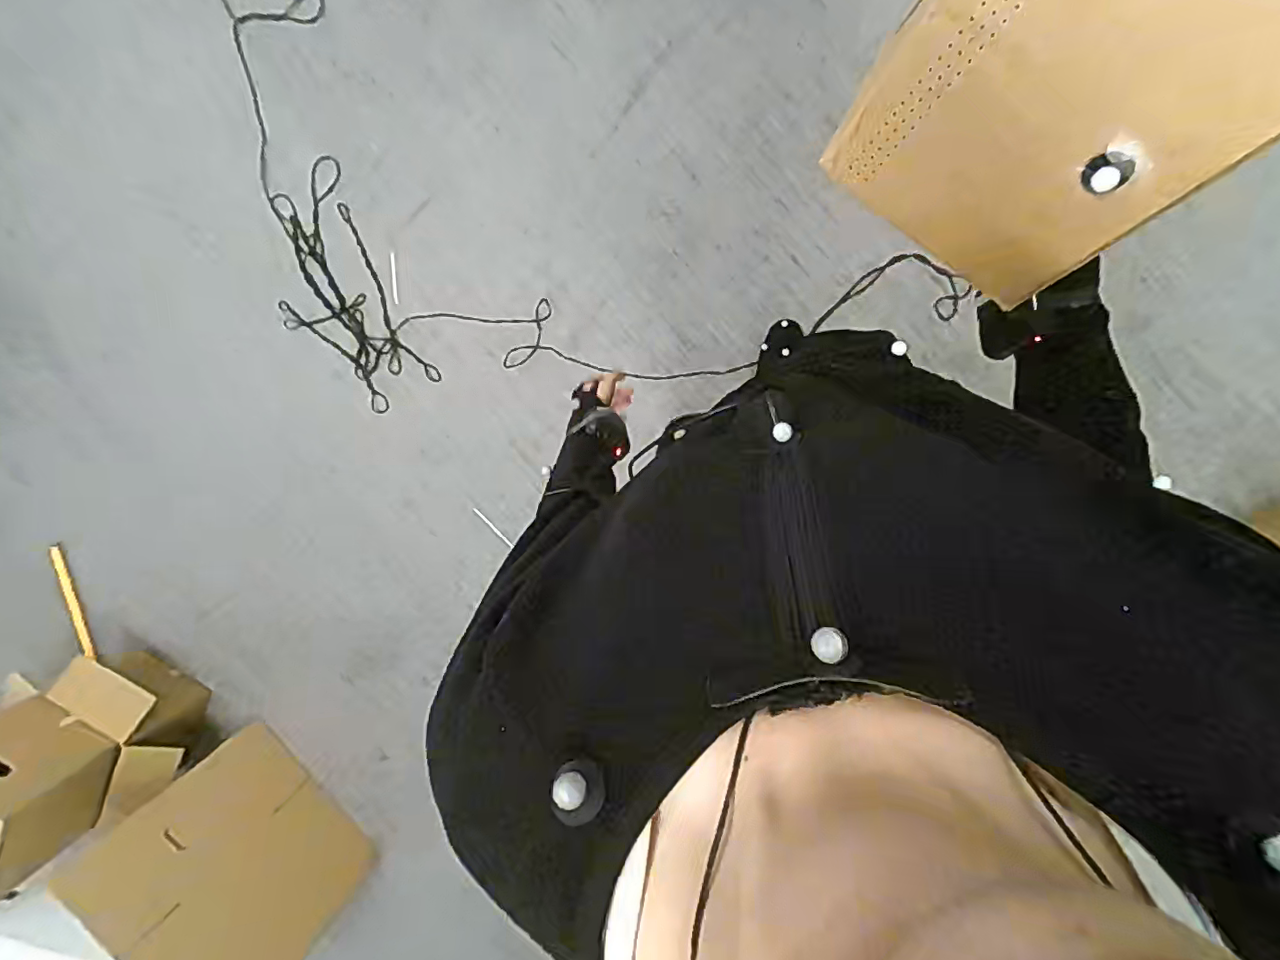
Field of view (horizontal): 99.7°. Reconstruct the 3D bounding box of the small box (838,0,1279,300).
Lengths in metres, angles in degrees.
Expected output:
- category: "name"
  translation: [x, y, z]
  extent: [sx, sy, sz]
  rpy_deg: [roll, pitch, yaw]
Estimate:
- category: "small box"
  translation: [0.248, -0.249, 0.305]
  extent: [0.176, 0.179, 0.168]
  rpy_deg: [34, 65, -5]
